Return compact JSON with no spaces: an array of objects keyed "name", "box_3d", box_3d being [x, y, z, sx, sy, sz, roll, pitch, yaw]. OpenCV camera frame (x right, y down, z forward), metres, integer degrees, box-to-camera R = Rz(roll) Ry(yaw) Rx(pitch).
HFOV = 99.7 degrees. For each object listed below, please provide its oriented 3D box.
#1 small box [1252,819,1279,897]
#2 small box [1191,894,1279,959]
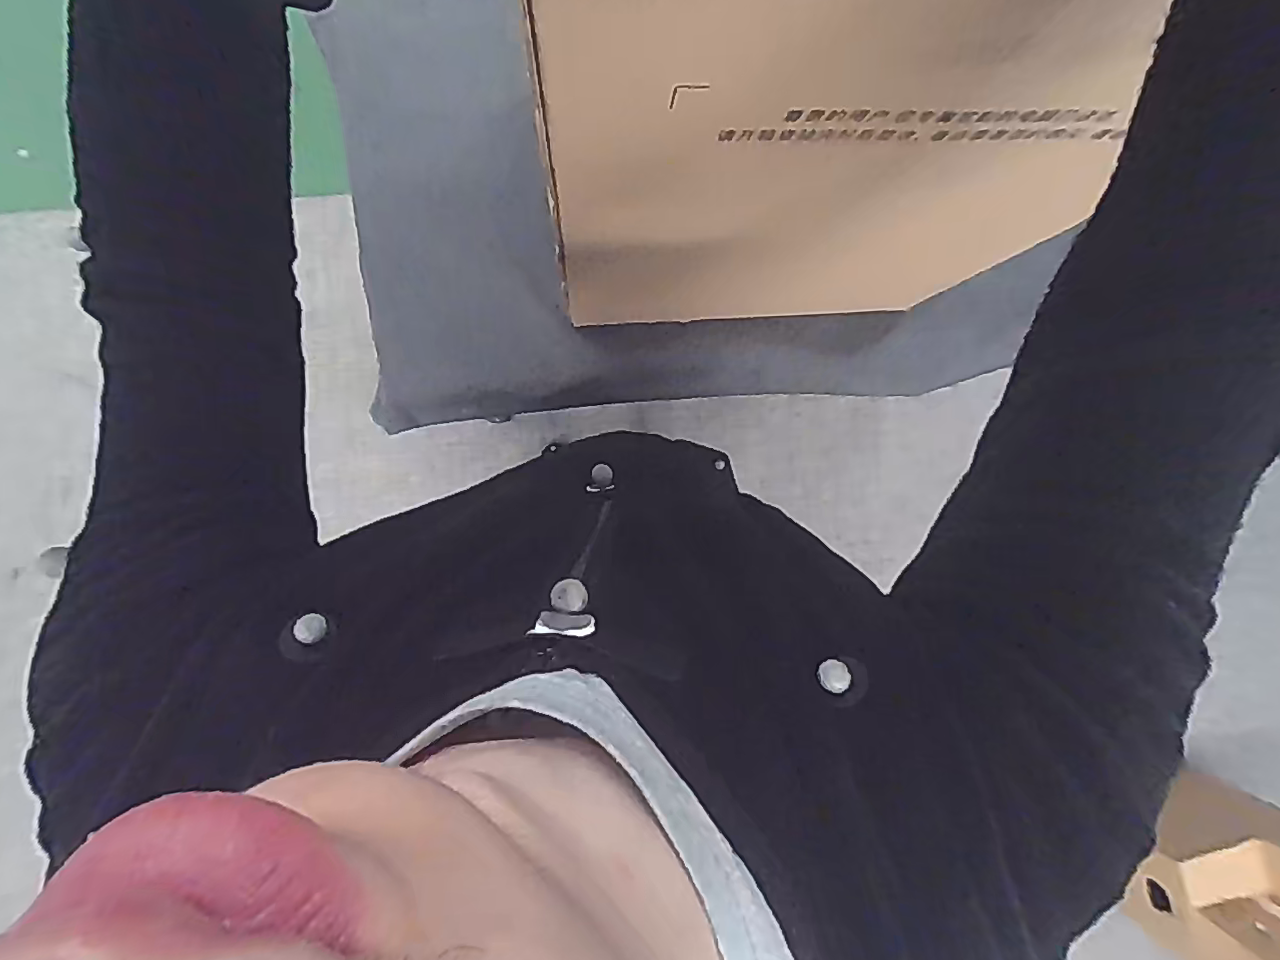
[{"name":"small box","box_3d":[1.721,0.988,1.361,0.168,0.176,0.179,-9,89,-6]},{"name":"small box","box_3d":[1.530,1.175,1.343,0.168,0.176,0.179,-7,93,-6]}]
